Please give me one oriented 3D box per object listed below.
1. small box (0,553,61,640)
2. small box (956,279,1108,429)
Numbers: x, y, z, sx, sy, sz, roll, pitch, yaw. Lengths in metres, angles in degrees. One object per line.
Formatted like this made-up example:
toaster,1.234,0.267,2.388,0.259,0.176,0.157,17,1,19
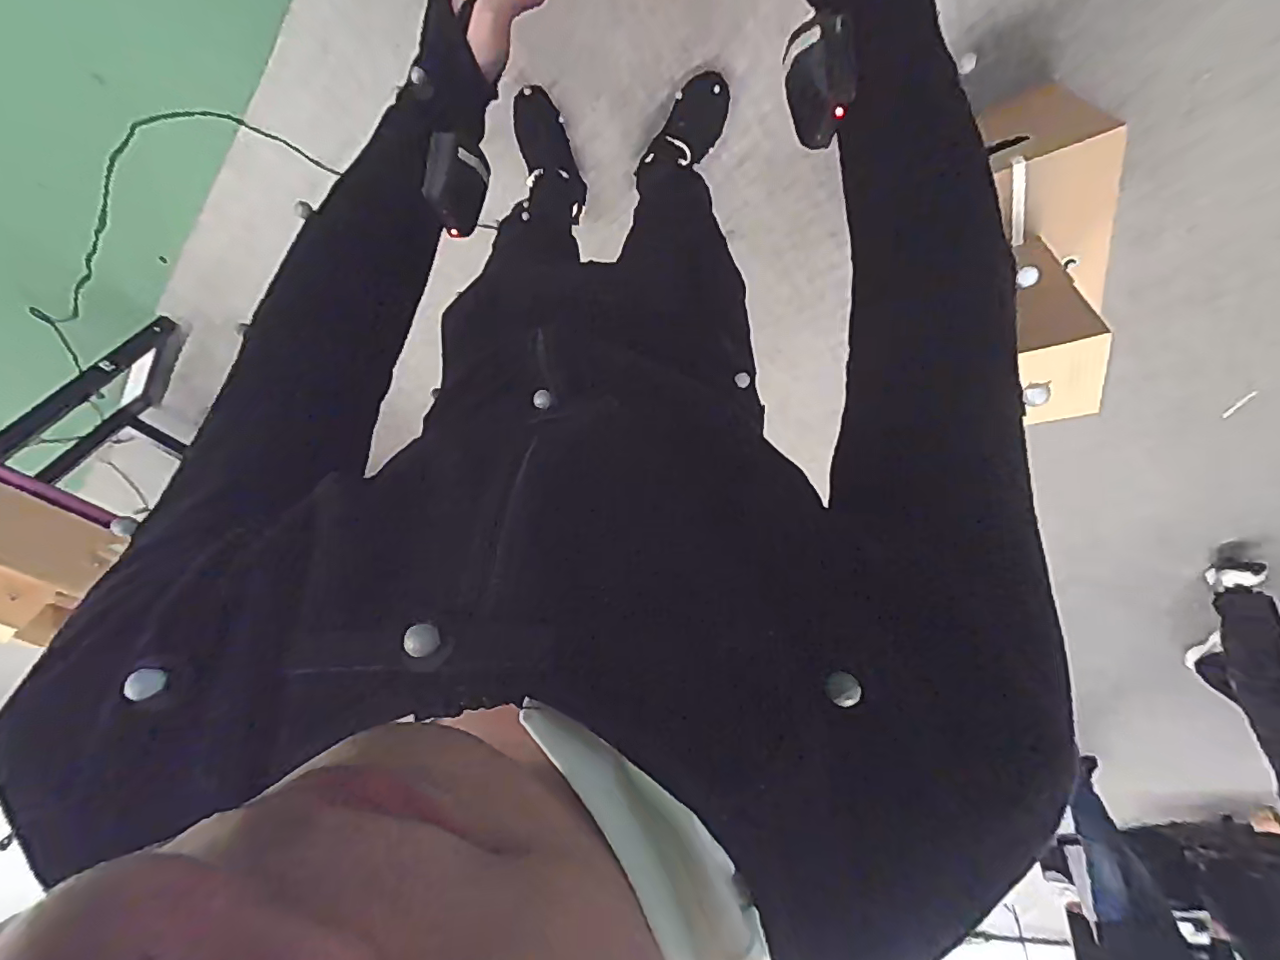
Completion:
small box,-1.820,0.328,1.540,0.179,0.176,0.168,-27,128,32
small box,0.665,-0.219,0.945,0.179,0.176,0.168,-11,134,22
